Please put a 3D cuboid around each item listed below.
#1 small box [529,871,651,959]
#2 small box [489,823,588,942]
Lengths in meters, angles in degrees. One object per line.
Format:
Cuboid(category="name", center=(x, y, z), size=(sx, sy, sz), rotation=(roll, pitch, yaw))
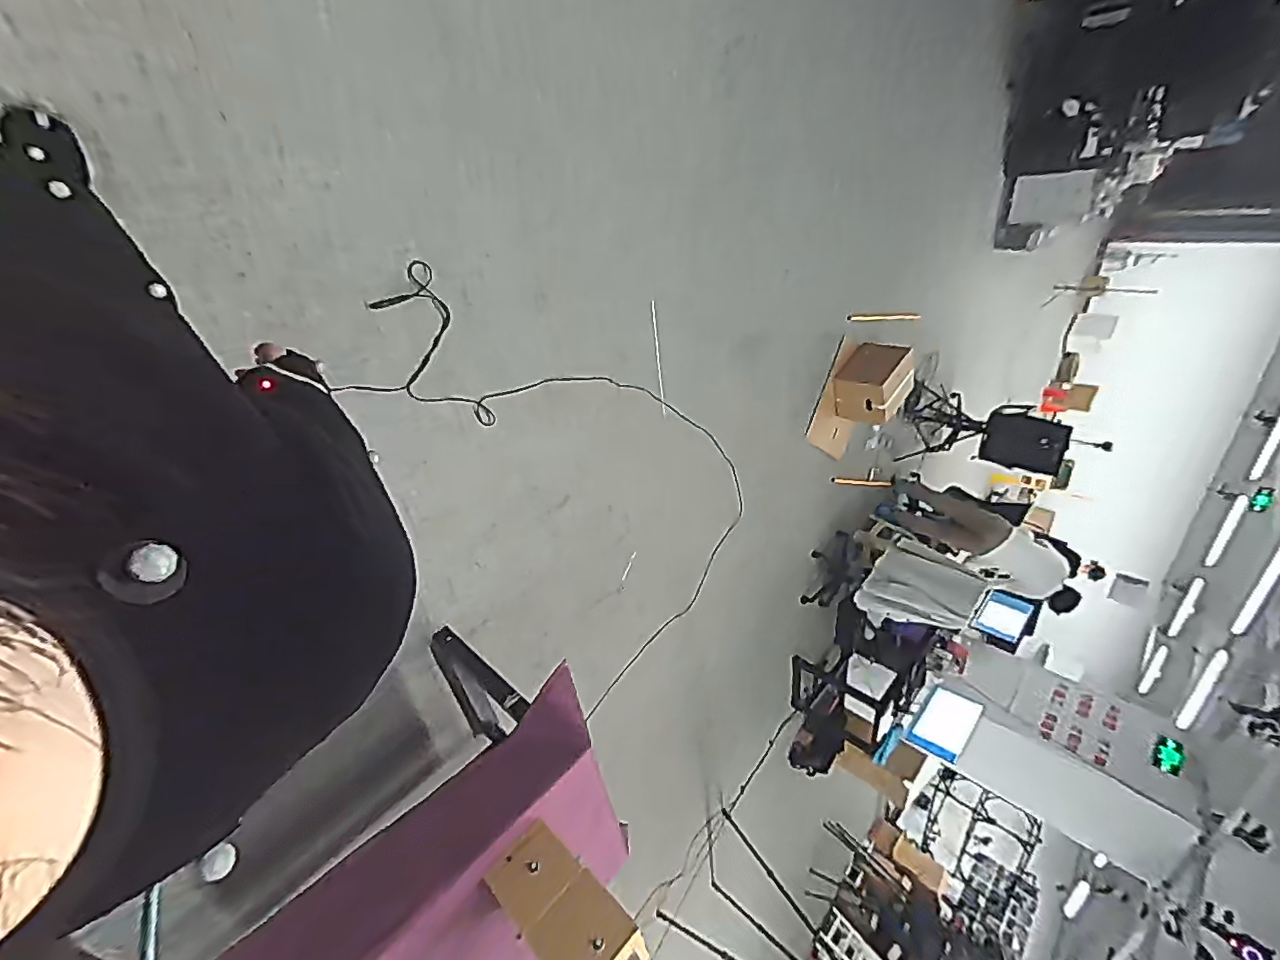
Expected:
Cuboid(category="small box", center=(-0.103, 0.981, 1.134), size=(0.179, 0.176, 0.168), rotation=(-34, 129, -33))
Cuboid(category="small box", center=(-0.221, 0.935, 1.241), size=(0.168, 0.176, 0.179), rotation=(-33, 129, -33))
